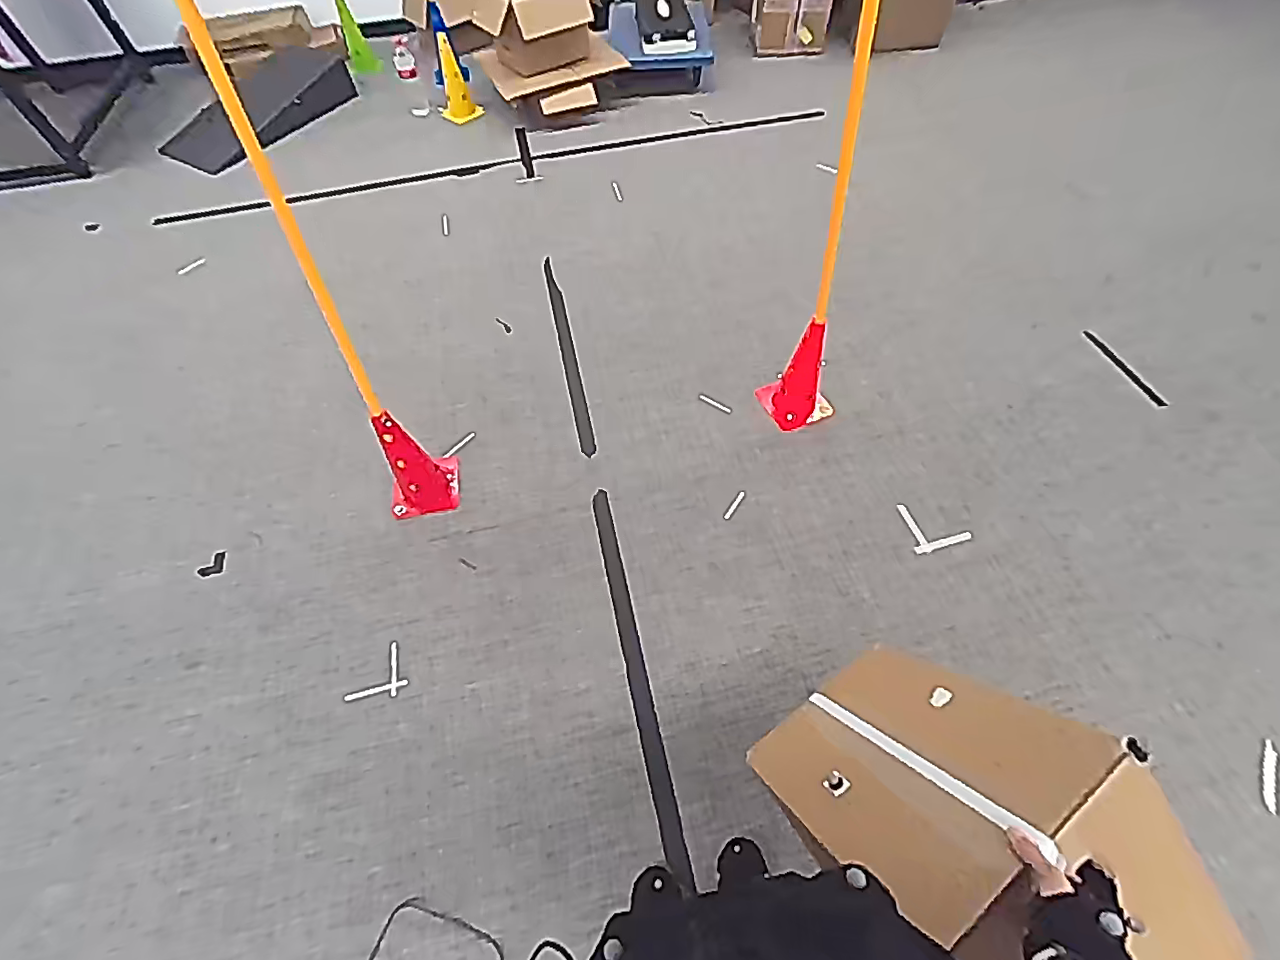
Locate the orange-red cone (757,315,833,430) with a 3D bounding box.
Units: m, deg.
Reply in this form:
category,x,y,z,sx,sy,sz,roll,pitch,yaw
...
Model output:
category,x,y,z,sx,sy,sz,roll,pitch,yaw
orange-red cone,0.508,-0.351,1.645,0.199,0.360,0.198,-19,59,-11
